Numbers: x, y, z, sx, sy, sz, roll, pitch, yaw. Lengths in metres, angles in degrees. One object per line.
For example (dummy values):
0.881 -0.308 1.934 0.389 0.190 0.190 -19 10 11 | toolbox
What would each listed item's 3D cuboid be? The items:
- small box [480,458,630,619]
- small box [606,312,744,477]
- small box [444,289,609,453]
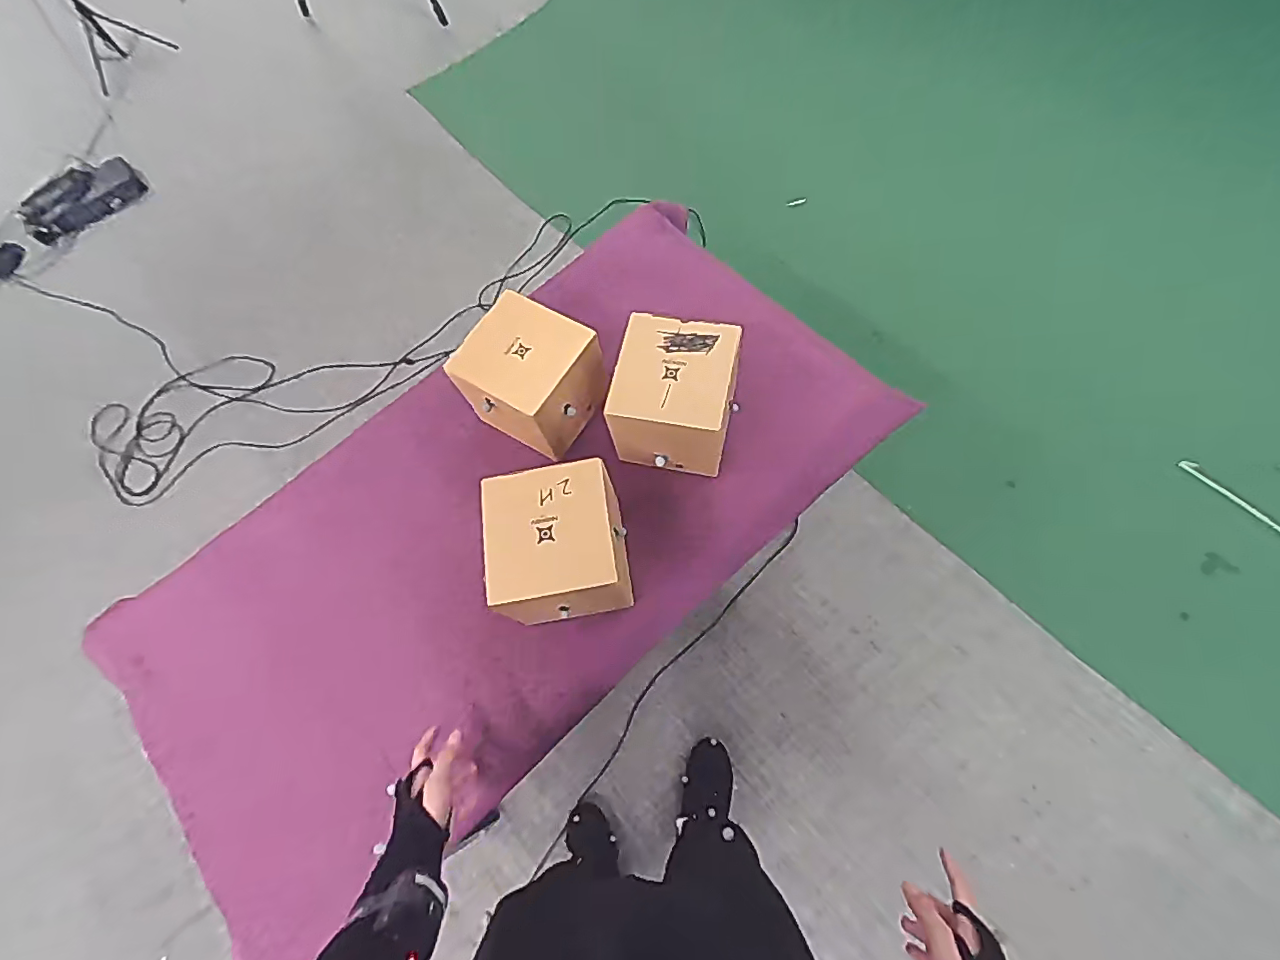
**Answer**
-0.112 0.092 0.757 0.168 0.176 0.179 -10 67 1 | small box
0.057 -0.125 0.829 0.168 0.176 0.179 11 71 11 | small box
-0.169 -0.164 0.870 0.179 0.176 0.168 30 75 16 | small box
